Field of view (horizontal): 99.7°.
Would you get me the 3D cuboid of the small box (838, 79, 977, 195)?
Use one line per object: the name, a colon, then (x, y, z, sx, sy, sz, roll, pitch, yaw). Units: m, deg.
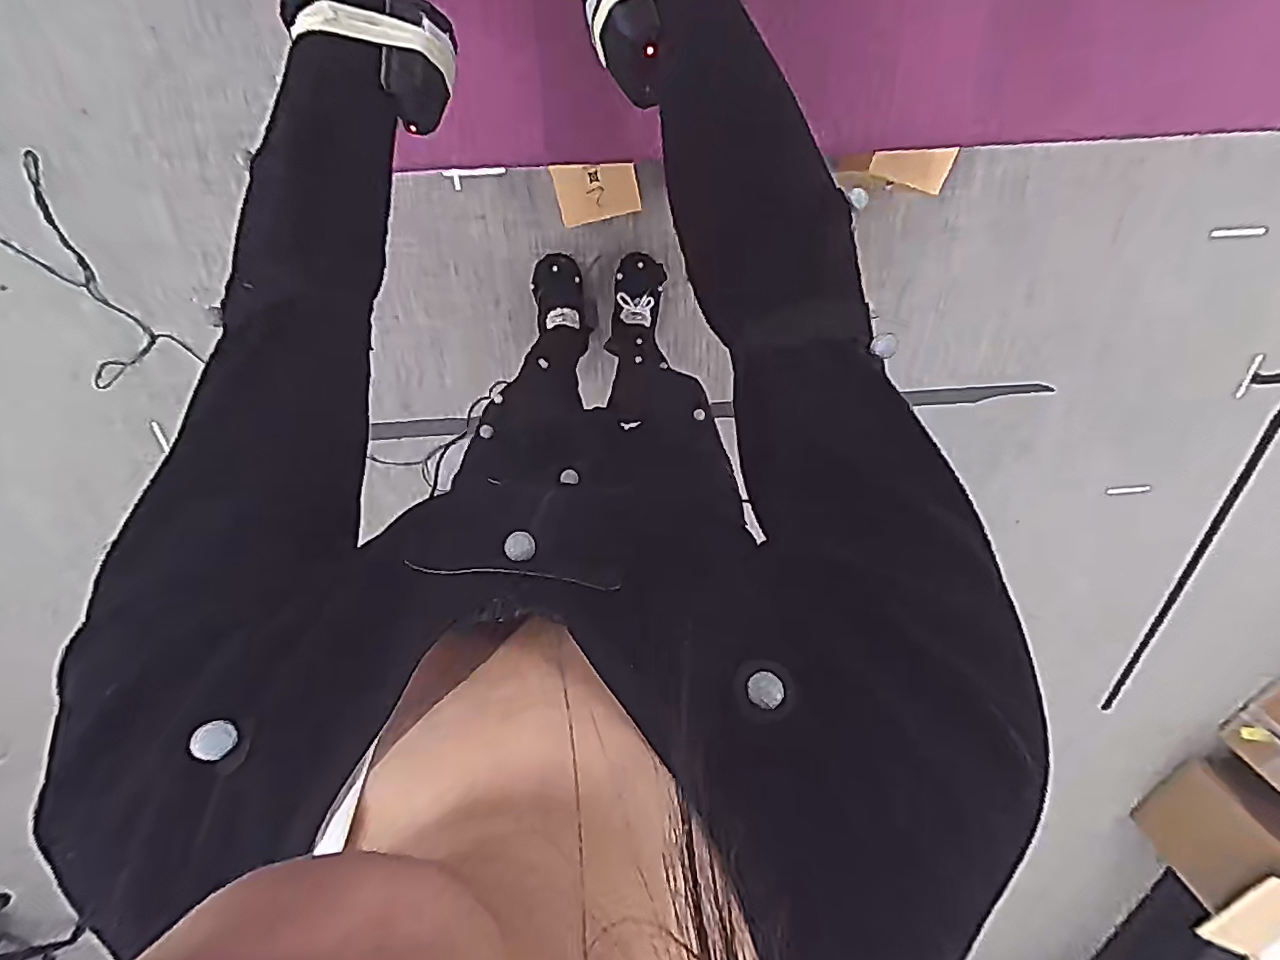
small box: (0.564, -0.734, 1.166, 0.179, 0.176, 0.168, 11, 119, -11)
